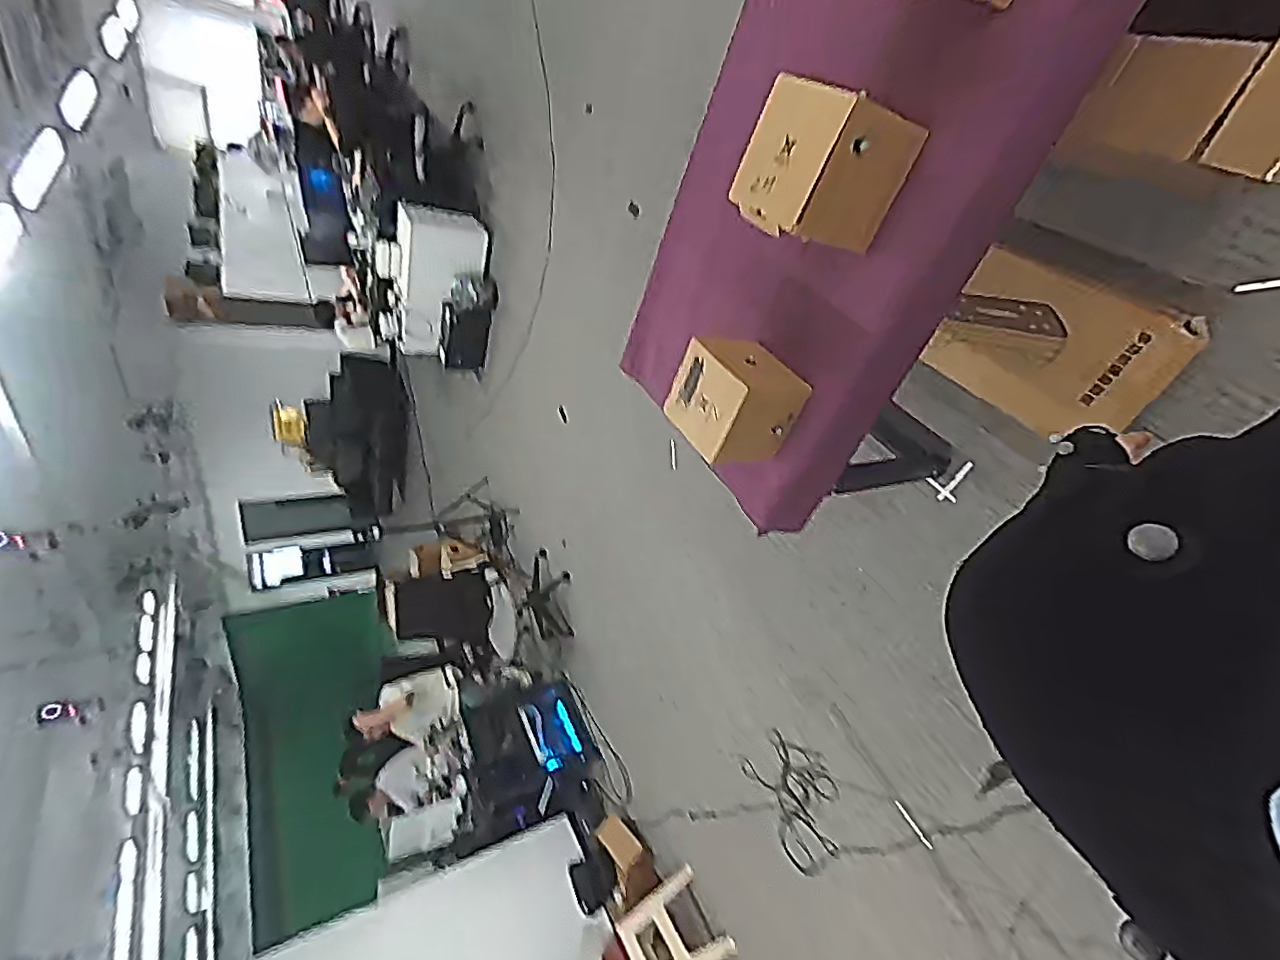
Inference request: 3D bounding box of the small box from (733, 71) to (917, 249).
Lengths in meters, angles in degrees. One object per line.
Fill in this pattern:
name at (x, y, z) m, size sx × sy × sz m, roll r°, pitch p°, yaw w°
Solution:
small box at (0.277, -0.472, 0.812) m, size 0.168 × 0.176 × 0.179 m, roll 55°, pitch 137°, yaw 39°
